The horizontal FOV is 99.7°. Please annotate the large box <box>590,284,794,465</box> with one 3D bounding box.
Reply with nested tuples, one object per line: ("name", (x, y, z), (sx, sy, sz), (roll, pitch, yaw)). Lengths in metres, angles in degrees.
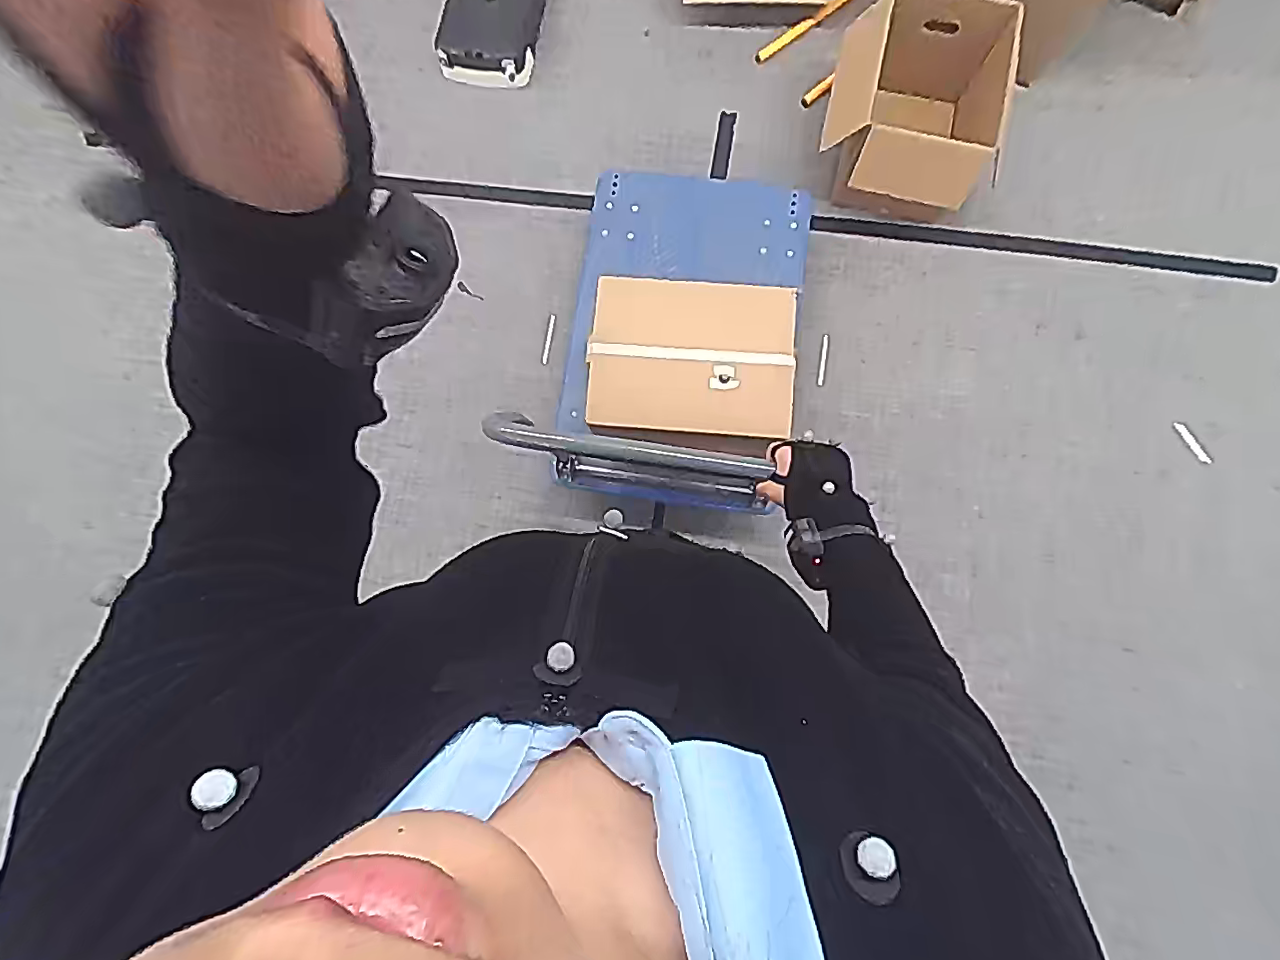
("large box", (0.107, -0.220, 1.232), (0.408, 0.320, 0.320), (4, 83, 1))
